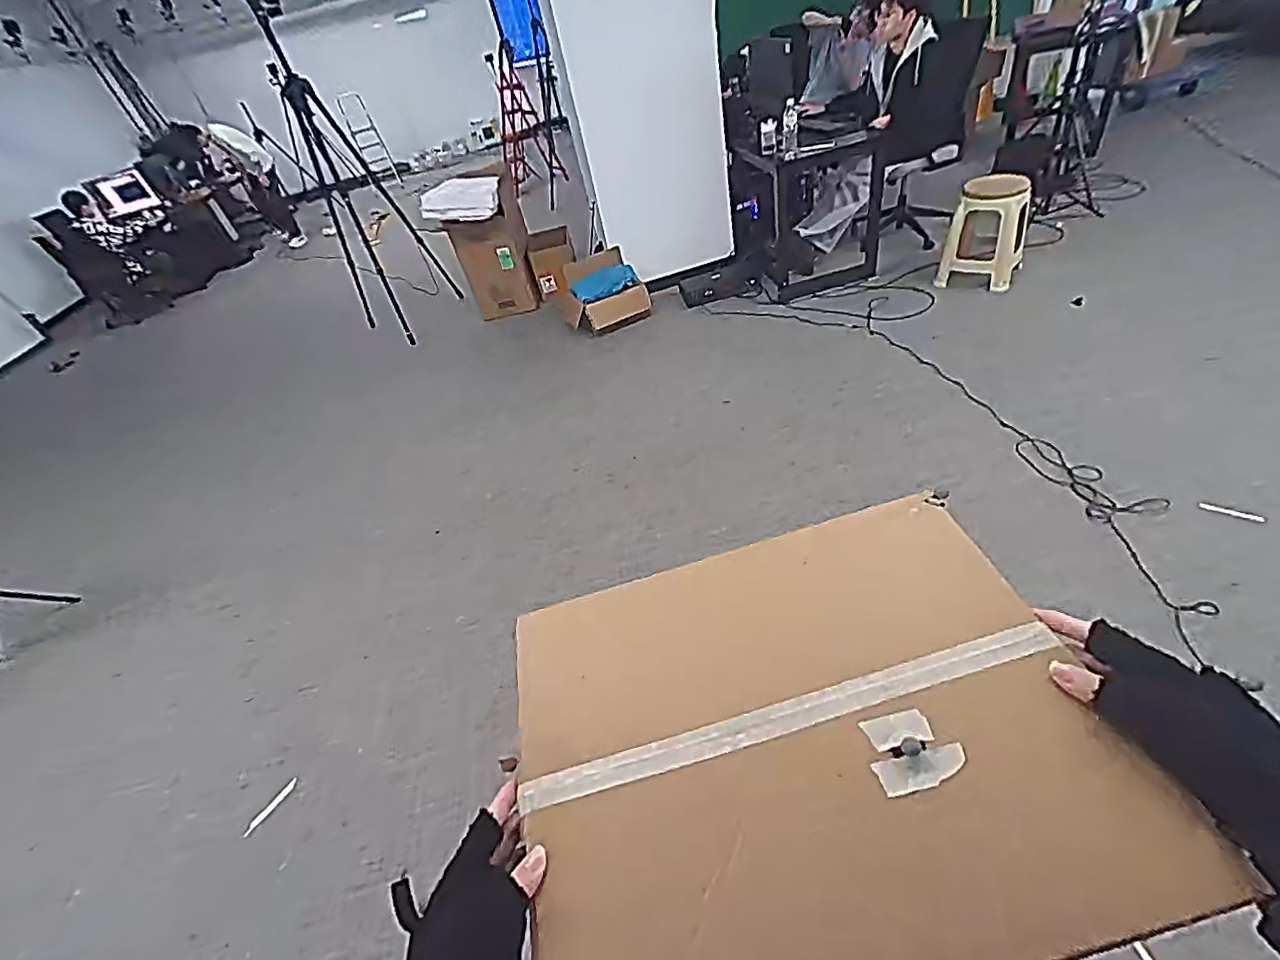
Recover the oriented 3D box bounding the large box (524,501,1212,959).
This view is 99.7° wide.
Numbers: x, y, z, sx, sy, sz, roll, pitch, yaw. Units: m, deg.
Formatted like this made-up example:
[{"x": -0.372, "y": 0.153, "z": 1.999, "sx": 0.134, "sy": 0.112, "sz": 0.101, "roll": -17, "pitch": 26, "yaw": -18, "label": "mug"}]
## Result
[{"x": 0.138, "y": 0.282, "z": 0.514, "sx": 0.408, "sy": 0.320, "sz": 0.320, "roll": -17, "pitch": 45, "yaw": -1, "label": "large box"}]
